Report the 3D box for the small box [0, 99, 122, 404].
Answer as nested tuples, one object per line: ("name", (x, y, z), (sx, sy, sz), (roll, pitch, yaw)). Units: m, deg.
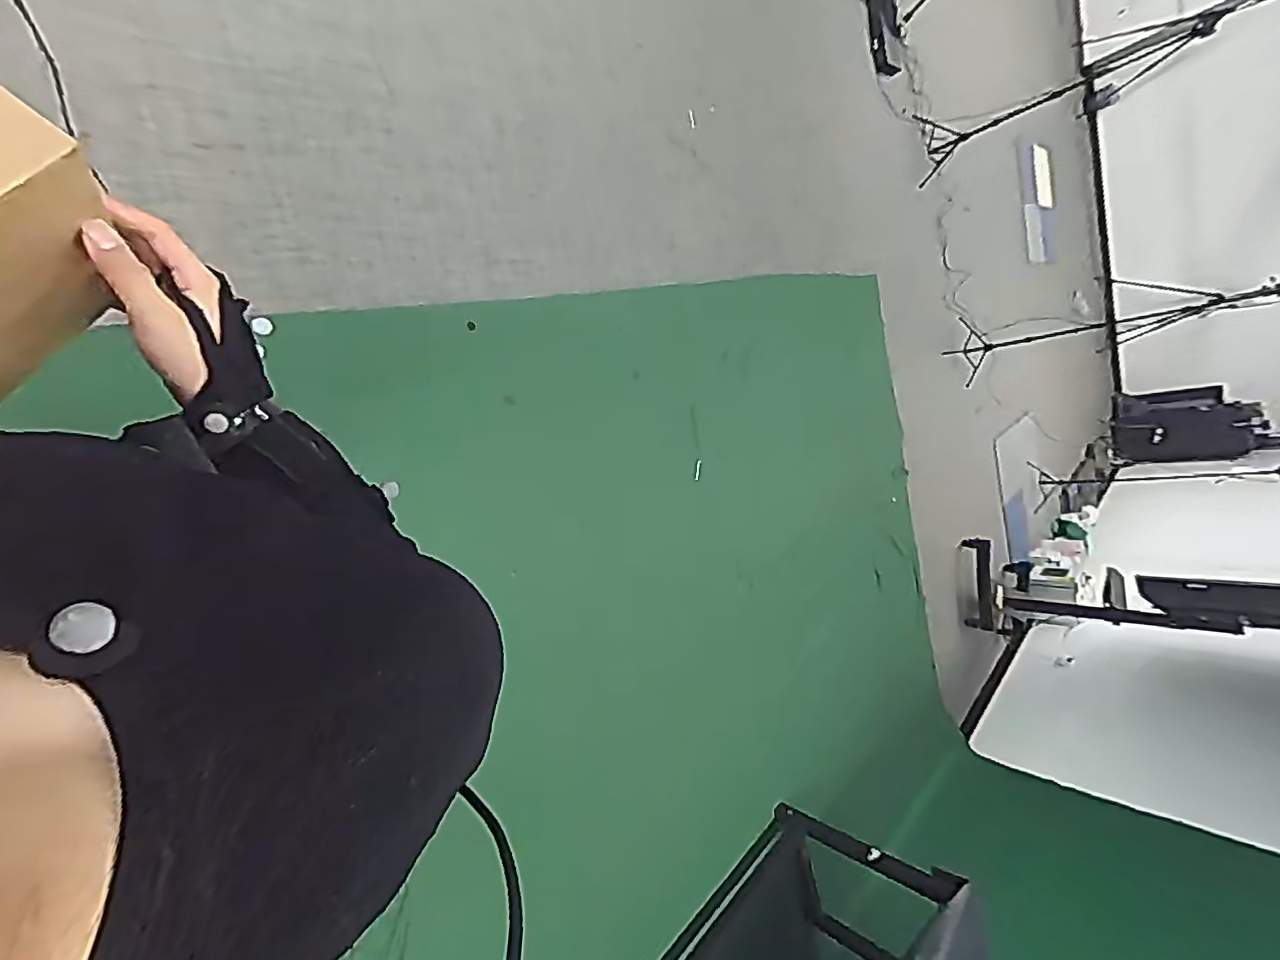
("small box", (-0.404, -0.122, 0.254), (0.168, 0.176, 0.179), (39, 65, -26))
